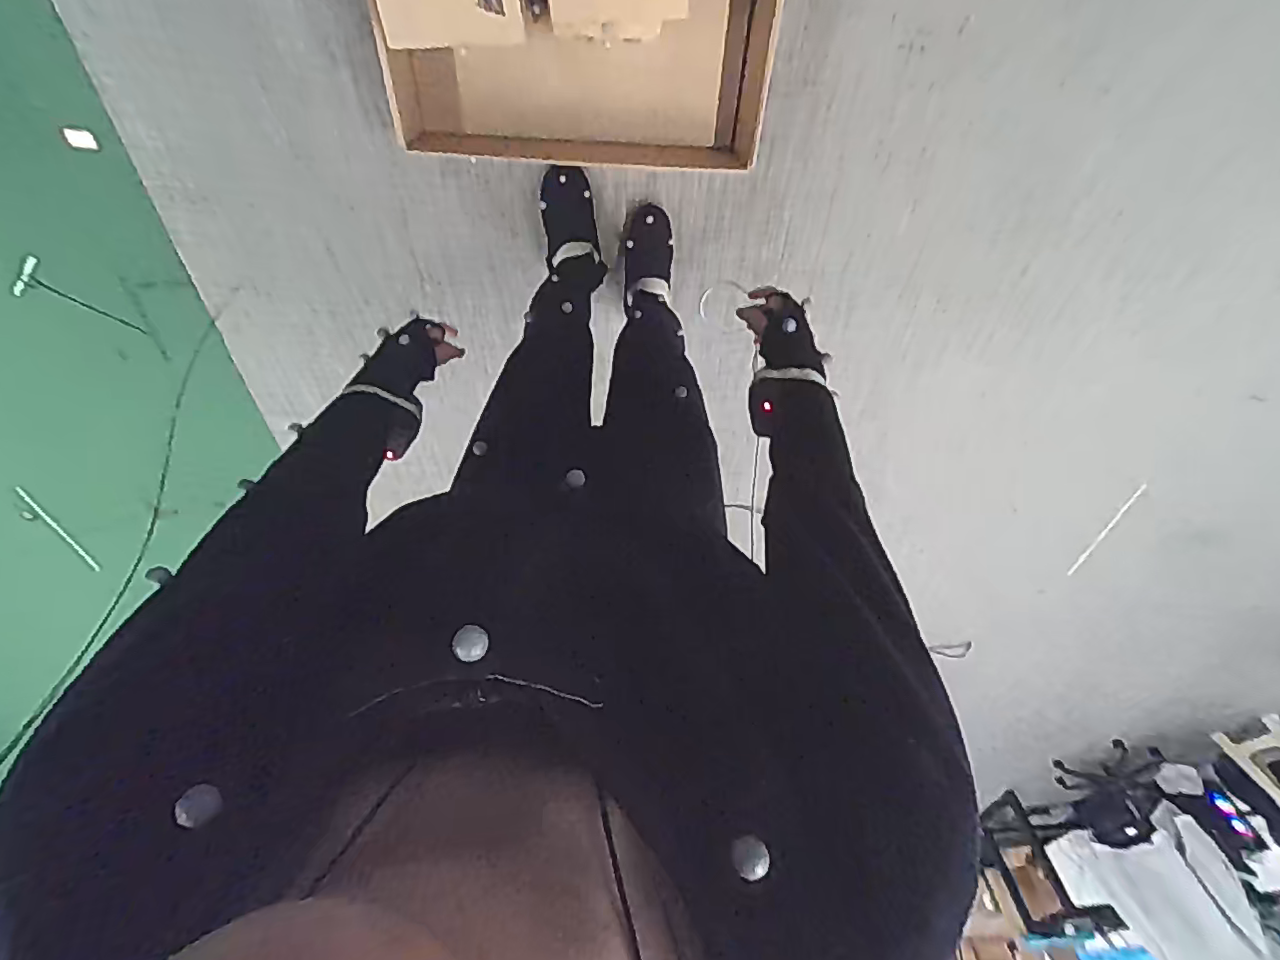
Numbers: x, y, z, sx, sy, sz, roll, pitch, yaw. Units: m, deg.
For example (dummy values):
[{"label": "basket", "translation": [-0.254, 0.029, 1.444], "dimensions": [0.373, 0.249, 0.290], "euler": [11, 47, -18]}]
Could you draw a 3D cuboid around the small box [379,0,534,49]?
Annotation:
[{"label": "small box", "translation": [-0.233, -0.661, 0.686], "dimensions": [0.179, 0.176, 0.168], "euler": [-3, 133, -1]}]

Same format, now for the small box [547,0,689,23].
[{"label": "small box", "translation": [-0.027, -0.684, 0.680], "dimensions": [0.179, 0.176, 0.168], "euler": [-1, 132, 0]}]

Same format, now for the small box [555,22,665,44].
[{"label": "small box", "translation": [-0.042, -0.780, 0.814], "dimensions": [0.168, 0.176, 0.179], "euler": [2, 132, -3]}]
